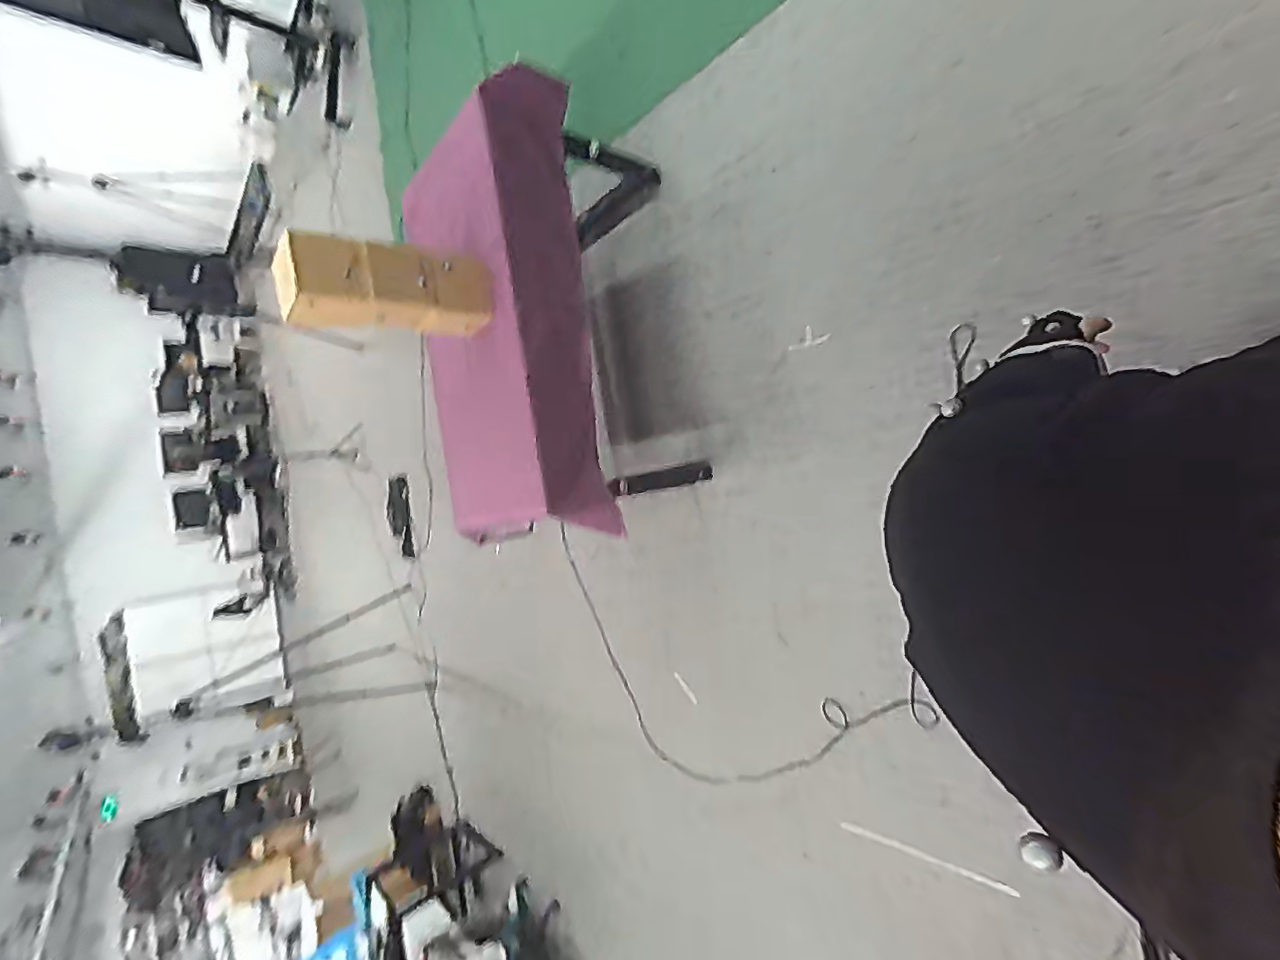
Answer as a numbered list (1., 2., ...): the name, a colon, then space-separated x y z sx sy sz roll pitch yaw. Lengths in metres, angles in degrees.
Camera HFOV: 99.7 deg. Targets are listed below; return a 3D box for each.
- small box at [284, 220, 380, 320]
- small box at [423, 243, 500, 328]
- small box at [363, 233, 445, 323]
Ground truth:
1. small box: -0.771 -0.514 1.355 0.179 0.176 0.168 -15 86 47
2. small box: -0.527 -0.554 1.567 0.168 0.176 0.179 -10 89 48
3. small box: -0.648 -0.535 1.460 0.179 0.176 0.168 -12 88 47
